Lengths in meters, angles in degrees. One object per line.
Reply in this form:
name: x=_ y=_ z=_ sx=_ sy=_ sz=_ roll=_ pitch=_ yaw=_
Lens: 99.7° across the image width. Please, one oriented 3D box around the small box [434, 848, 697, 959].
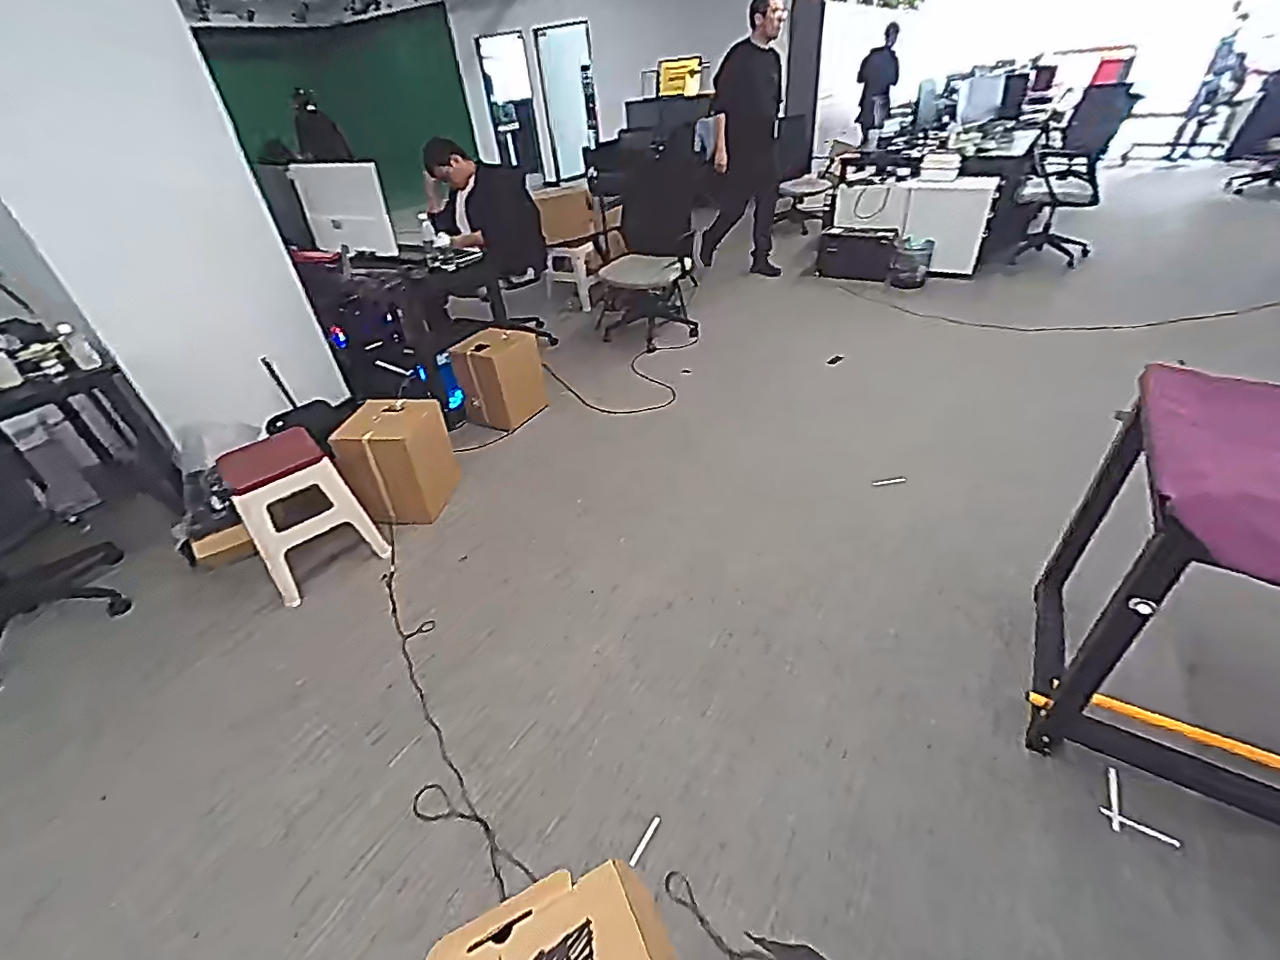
small box: x=-0.032 y=0.388 z=0.364 sx=0.168 sy=0.176 sz=0.179 roll=-24 pitch=54 yaw=-11
